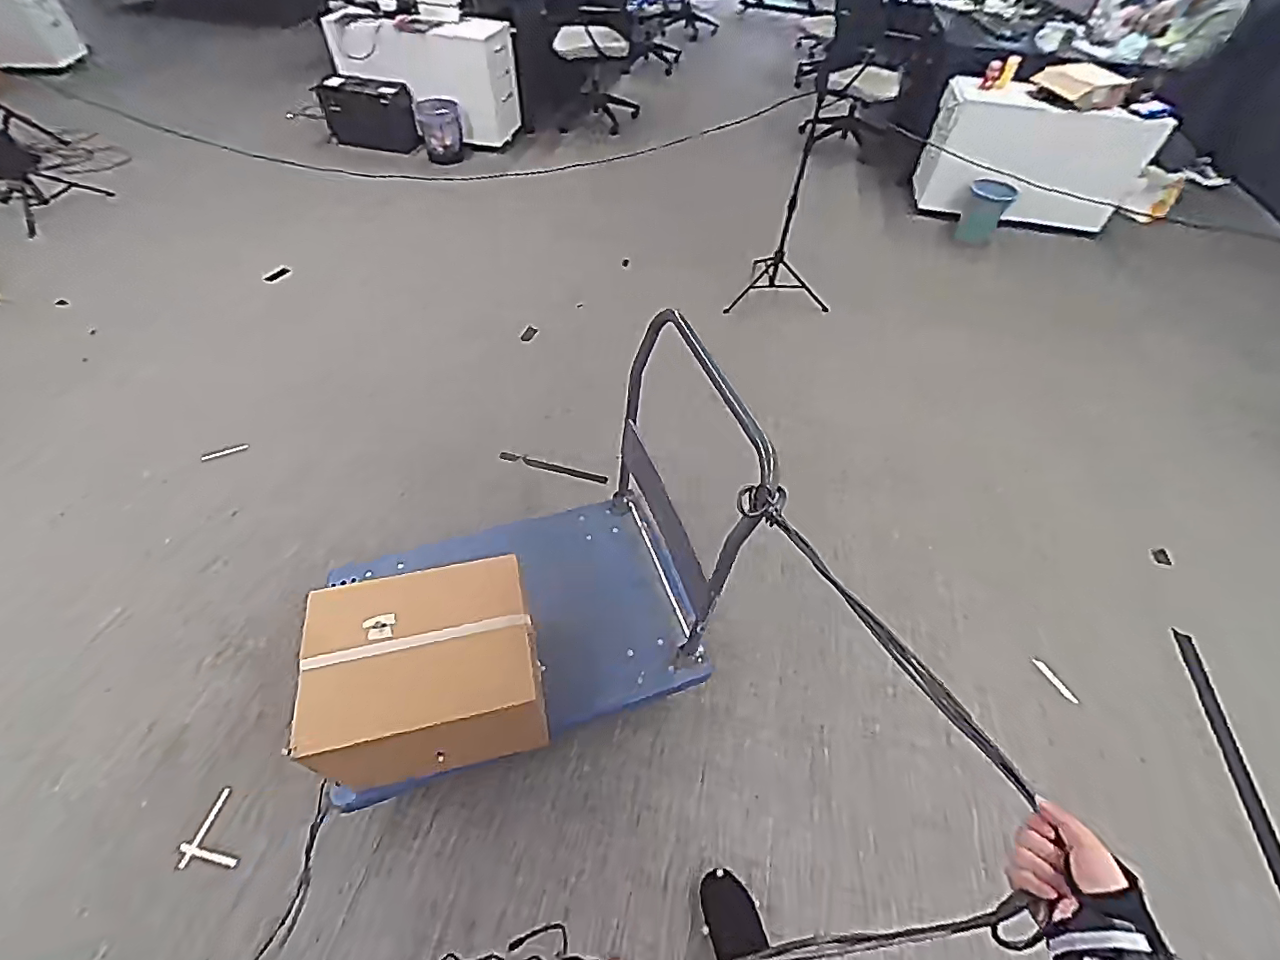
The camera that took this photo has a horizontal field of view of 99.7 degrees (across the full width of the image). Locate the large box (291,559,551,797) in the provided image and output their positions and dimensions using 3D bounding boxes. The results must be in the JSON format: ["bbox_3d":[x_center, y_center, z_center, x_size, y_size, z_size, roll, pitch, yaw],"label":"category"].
[{"bbox_3d":[-0.418,0.408,1.114,0.408,0.320,0.320,-11,51,-11],"label":"large box"}]
